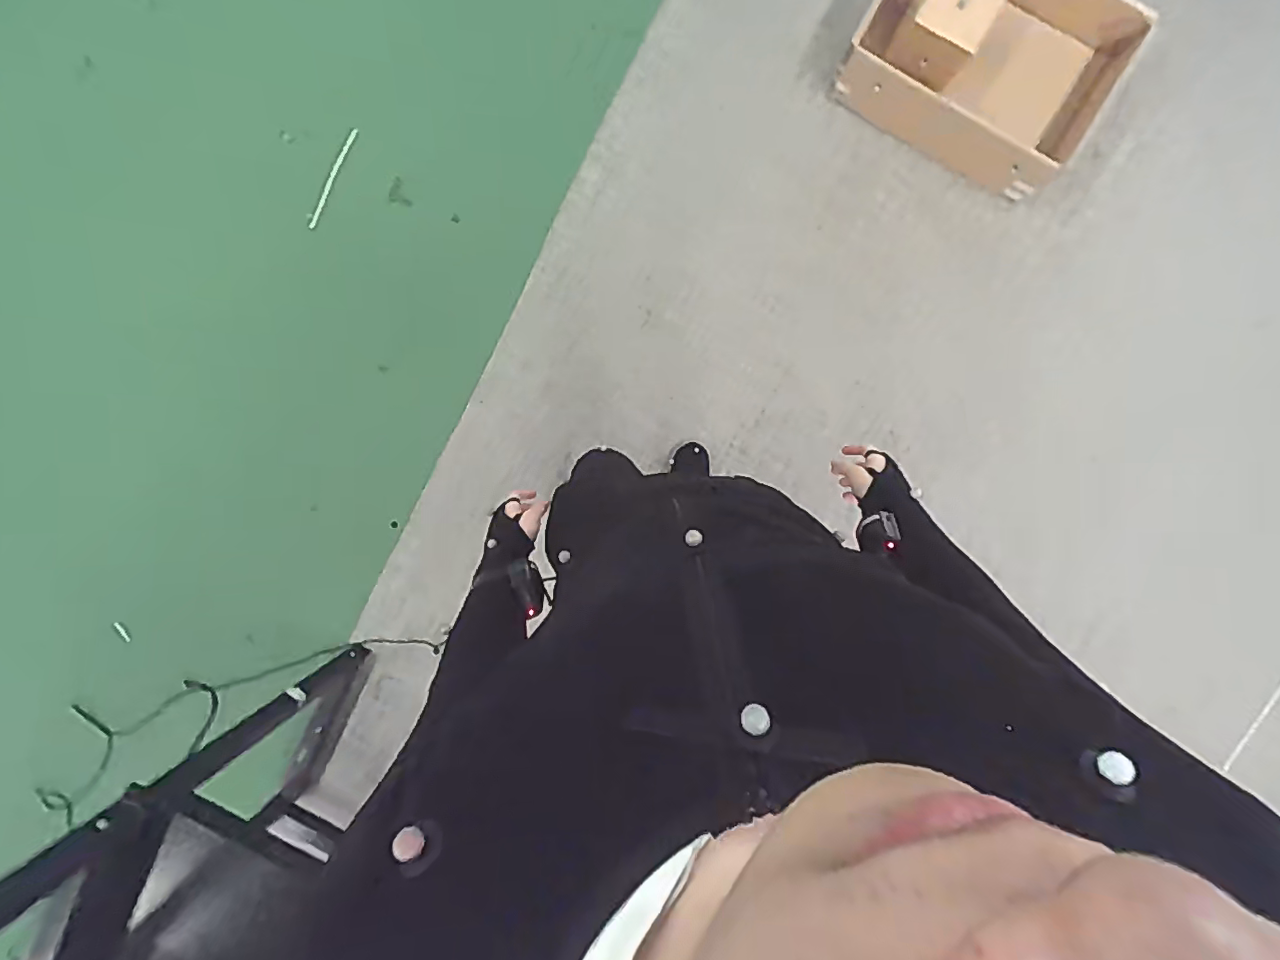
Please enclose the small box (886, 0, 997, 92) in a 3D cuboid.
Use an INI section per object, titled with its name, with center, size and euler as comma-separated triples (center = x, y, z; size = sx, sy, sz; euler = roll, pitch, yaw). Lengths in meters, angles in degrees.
[small box]
center = 0.746, -1.127, 1.348
size = 0.168, 0.176, 0.179
euler = 28, 96, -1
